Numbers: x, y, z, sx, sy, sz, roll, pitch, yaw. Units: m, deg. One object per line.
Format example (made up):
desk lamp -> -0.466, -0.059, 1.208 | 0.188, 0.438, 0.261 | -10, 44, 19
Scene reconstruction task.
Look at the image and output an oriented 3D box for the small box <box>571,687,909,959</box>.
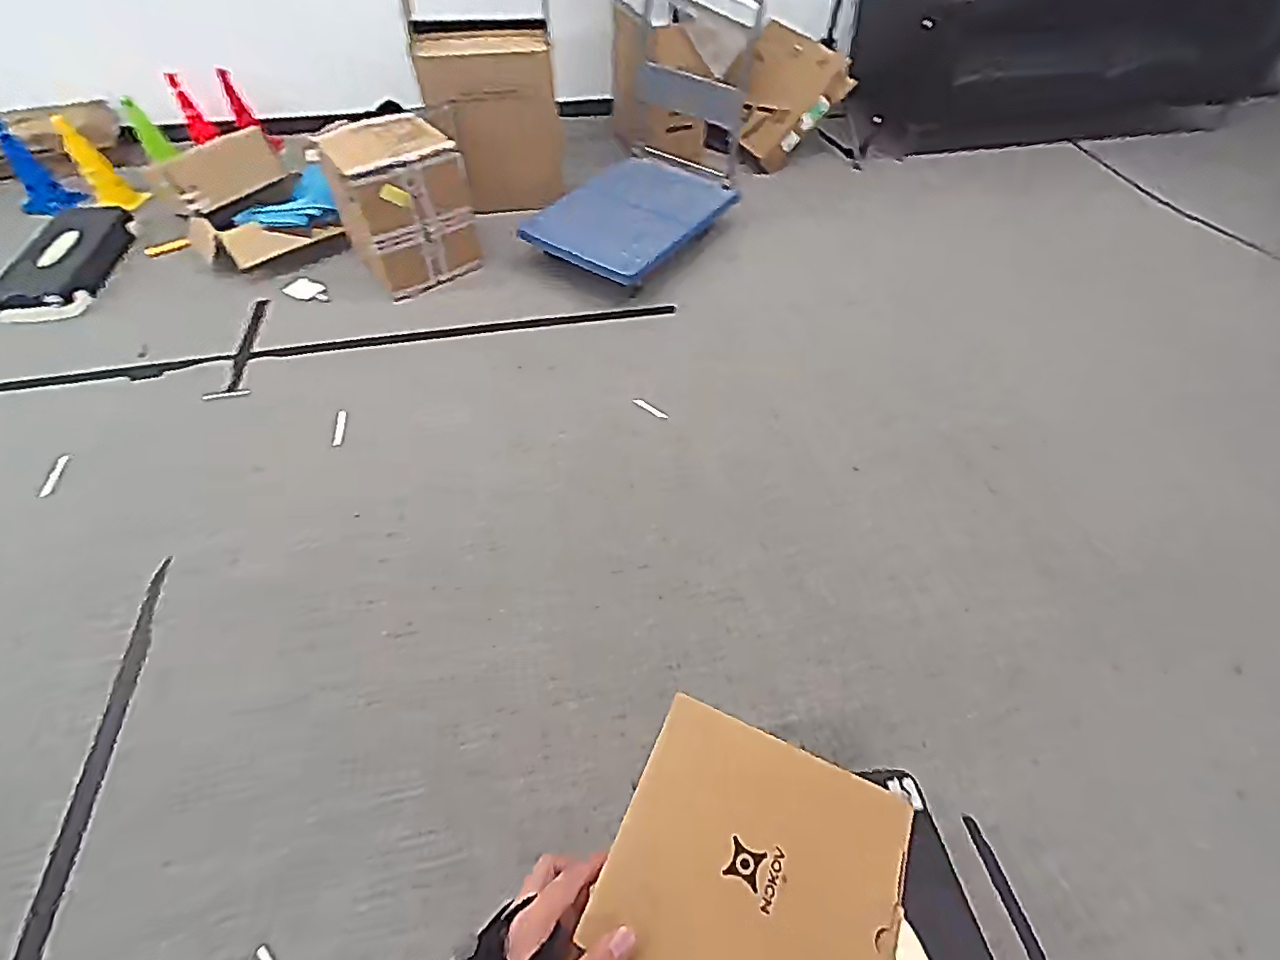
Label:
small box -> 0.072, 0.292, 0.406 | 0.179, 0.176, 0.168 | 19, 55, 17
